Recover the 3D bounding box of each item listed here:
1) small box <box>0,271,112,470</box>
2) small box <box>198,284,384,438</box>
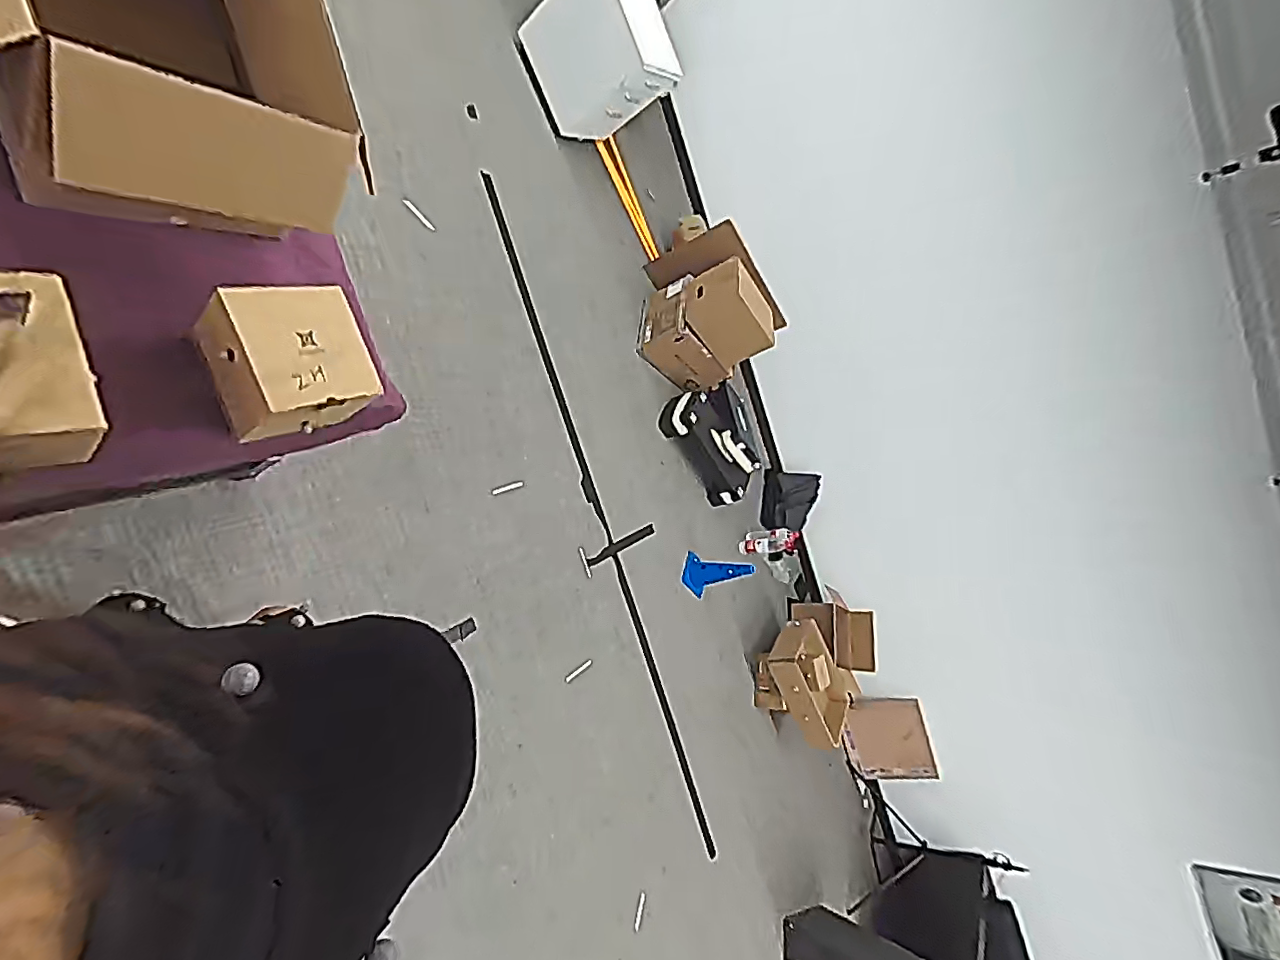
[{"bbox_3d":[-0.719,-0.111,0.585,0.168,0.176,0.179,-18,93,-51],"label":"small box"},{"bbox_3d":[-0.537,-0.181,0.830,0.168,0.176,0.179,-27,100,-50],"label":"small box"}]
